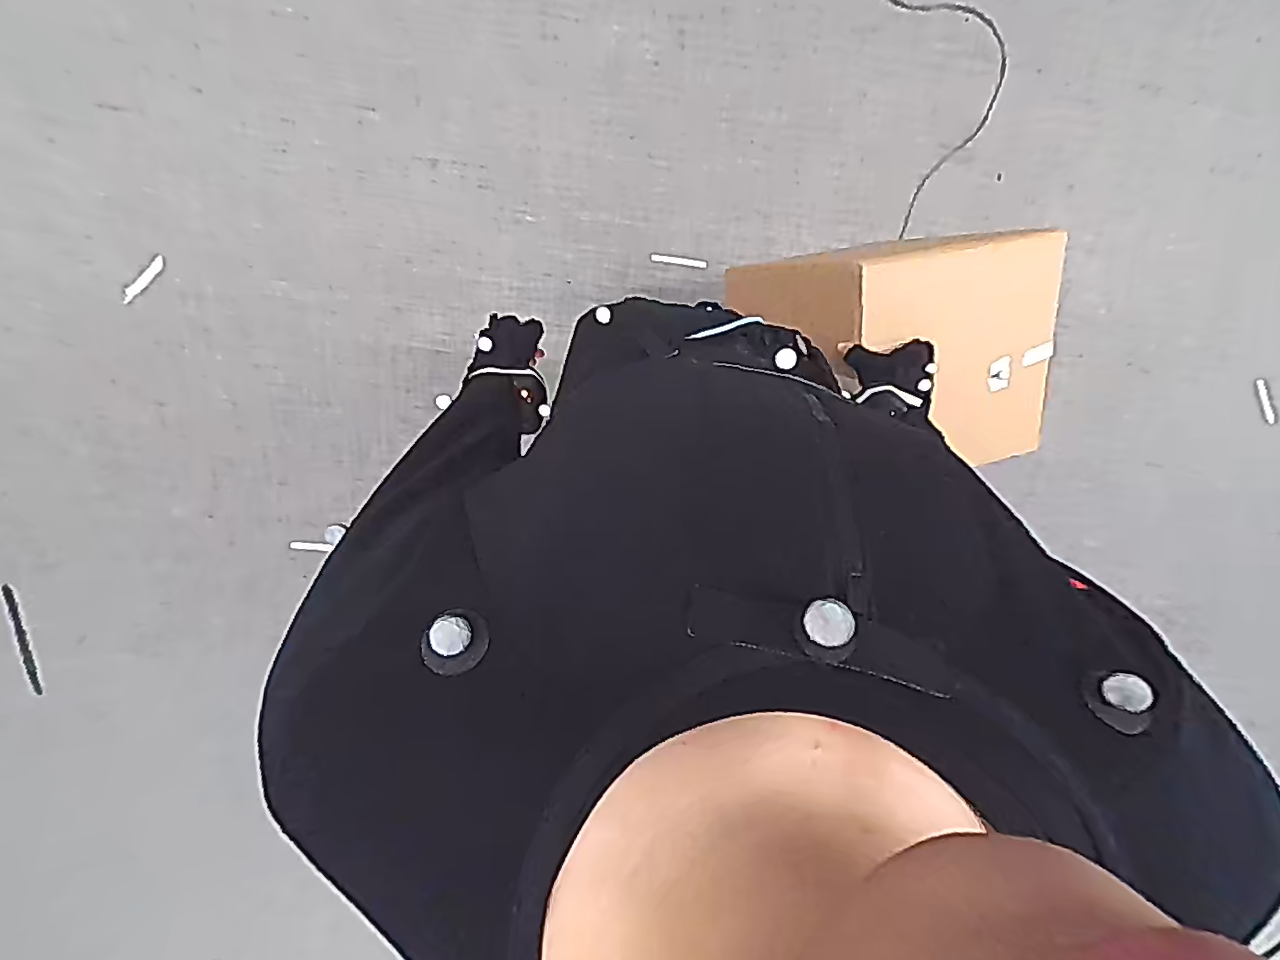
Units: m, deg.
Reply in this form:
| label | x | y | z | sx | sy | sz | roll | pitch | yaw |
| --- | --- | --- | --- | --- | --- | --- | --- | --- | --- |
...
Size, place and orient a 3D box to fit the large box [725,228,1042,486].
| label | x | y | z | sx | sy | sz | roll | pitch | yaw |
| --- | --- | --- | --- | --- | --- | --- | --- | --- | --- |
| large box | 0.377 | -0.226 | 0.928 | 0.320 | 0.408 | 0.320 | -13 | 113 | -10 |
